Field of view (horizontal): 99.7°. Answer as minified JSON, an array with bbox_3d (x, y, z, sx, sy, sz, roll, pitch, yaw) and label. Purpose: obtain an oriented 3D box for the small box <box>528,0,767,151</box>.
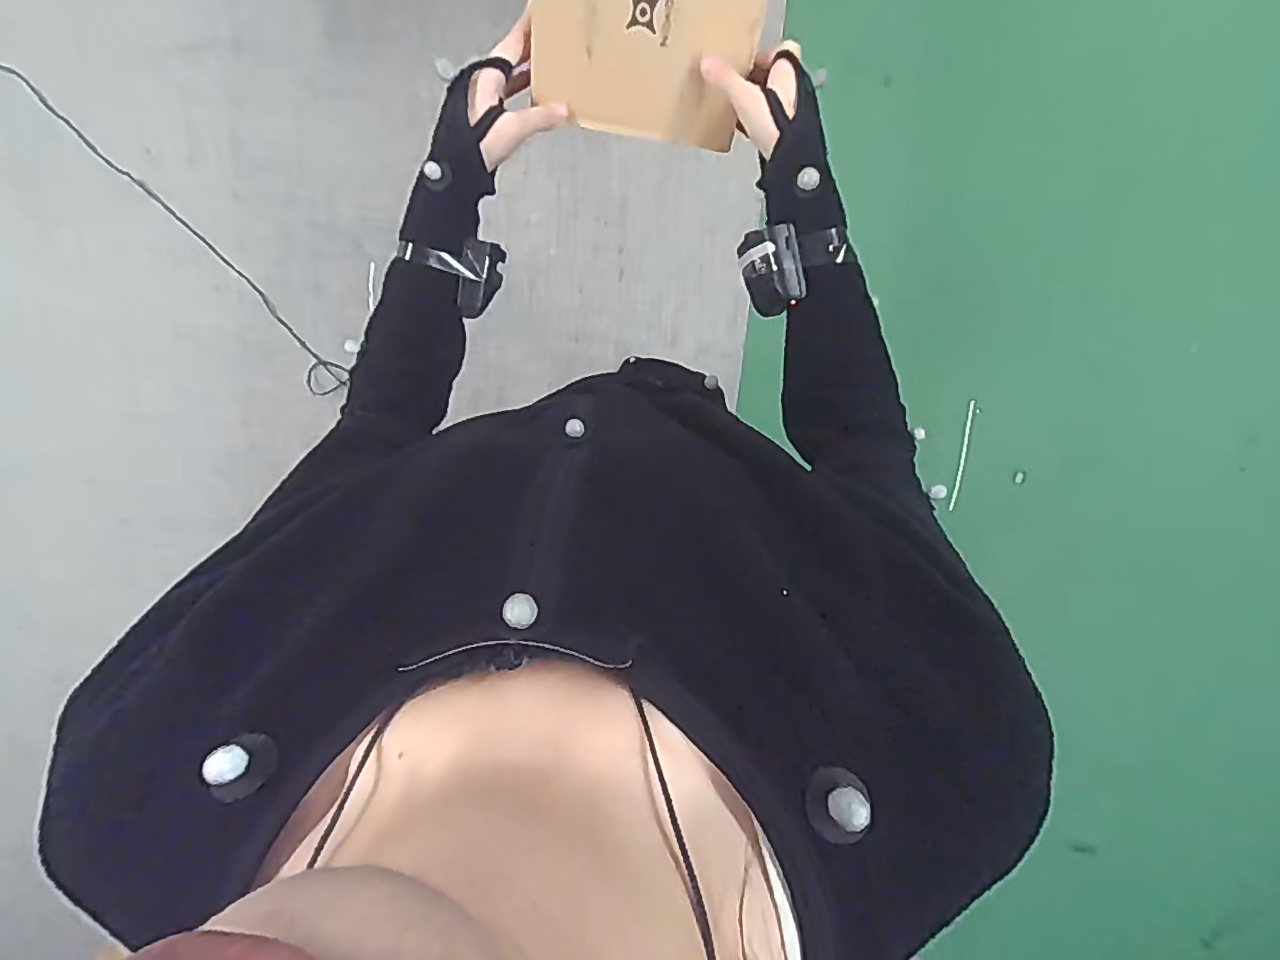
[{"bbox_3d":[0.003,-0.408,0.462,0.179,0.176,0.168,6,134,-7],"label":"small box"}]
